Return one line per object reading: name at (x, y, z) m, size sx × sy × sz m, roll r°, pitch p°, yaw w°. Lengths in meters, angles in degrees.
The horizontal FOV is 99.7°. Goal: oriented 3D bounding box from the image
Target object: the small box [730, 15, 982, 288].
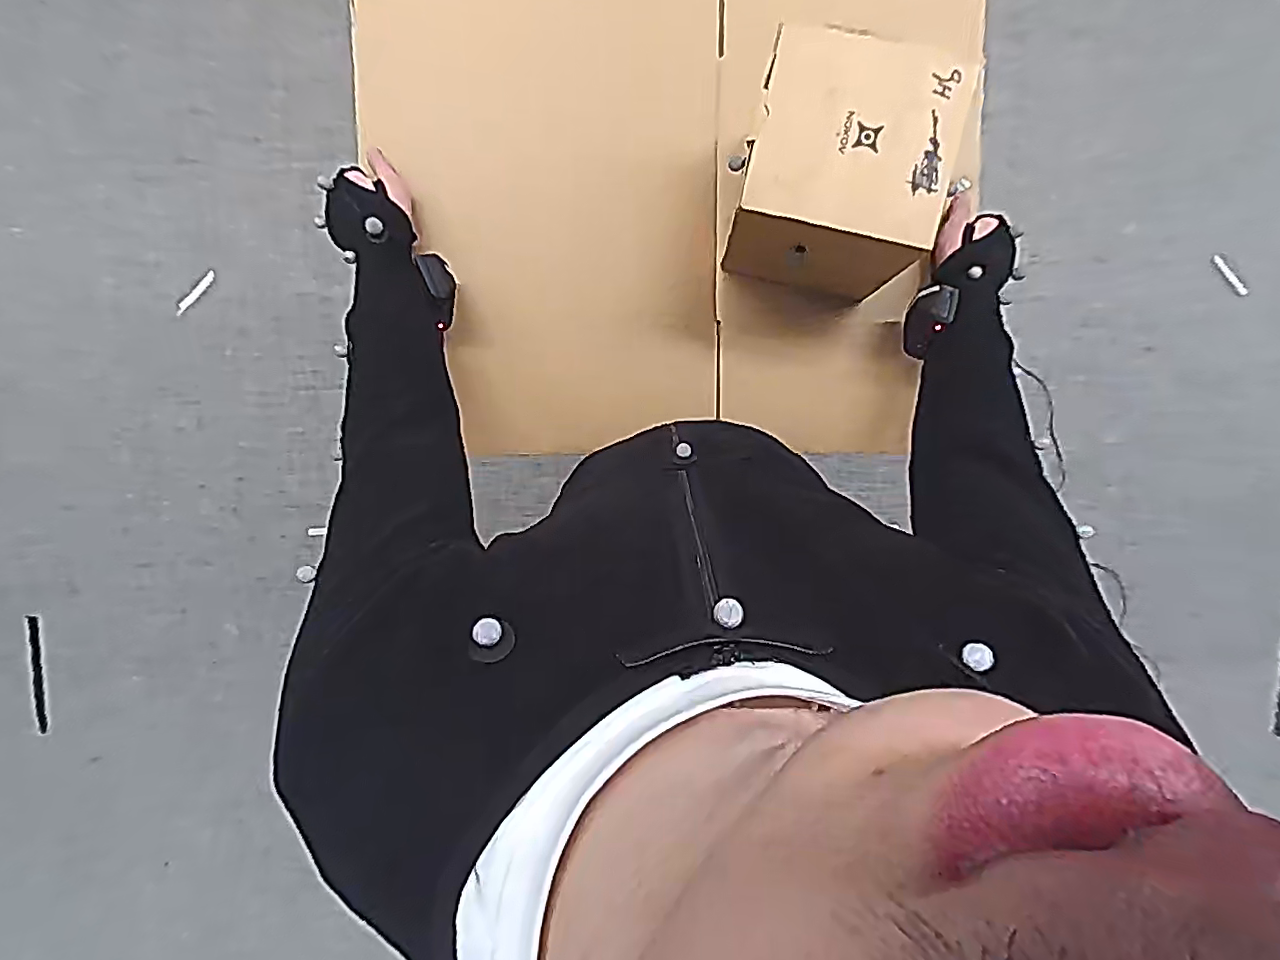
small box at (0.197, -0.312, 0.552) m, size 0.179 × 0.176 × 0.168 m, roll 14°, pitch 95°, yaw 3°
